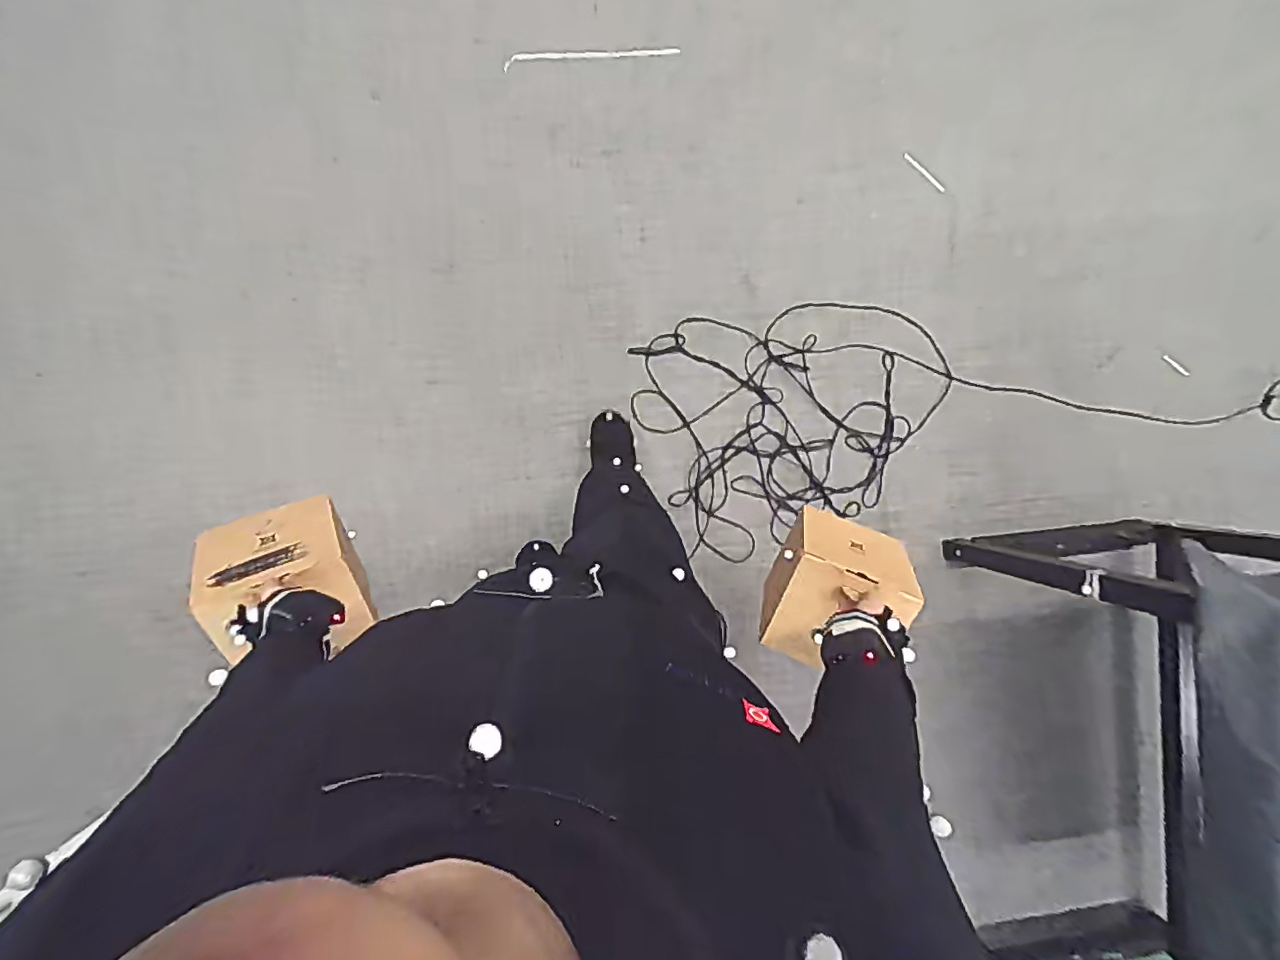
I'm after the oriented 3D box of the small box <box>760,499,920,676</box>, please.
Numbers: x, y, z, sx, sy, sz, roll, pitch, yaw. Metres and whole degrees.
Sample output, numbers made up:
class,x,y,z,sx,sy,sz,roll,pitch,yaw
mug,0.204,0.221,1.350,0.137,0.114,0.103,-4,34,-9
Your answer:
class,x,y,z,sx,sy,sz,roll,pitch,yaw
small box,0.291,0.158,0.827,0.168,0.179,0.176,21,114,7
